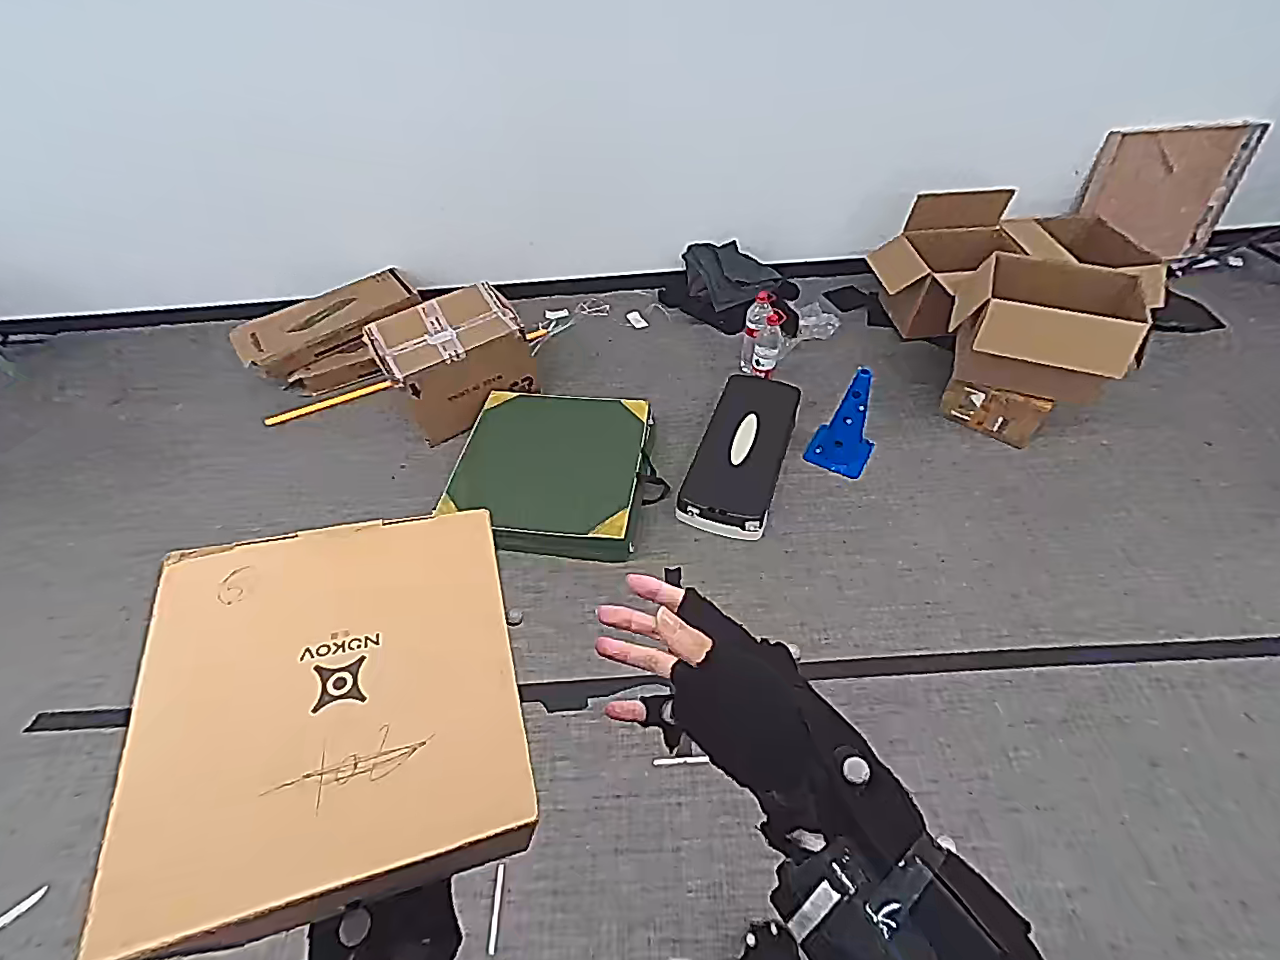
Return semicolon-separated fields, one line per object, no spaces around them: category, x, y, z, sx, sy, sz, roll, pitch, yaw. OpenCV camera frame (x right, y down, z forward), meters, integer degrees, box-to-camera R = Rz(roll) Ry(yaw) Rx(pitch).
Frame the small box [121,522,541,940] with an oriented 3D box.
small box;-0.162;0.152;0.341;0.168;0.176;0.179;-7;55;-18
